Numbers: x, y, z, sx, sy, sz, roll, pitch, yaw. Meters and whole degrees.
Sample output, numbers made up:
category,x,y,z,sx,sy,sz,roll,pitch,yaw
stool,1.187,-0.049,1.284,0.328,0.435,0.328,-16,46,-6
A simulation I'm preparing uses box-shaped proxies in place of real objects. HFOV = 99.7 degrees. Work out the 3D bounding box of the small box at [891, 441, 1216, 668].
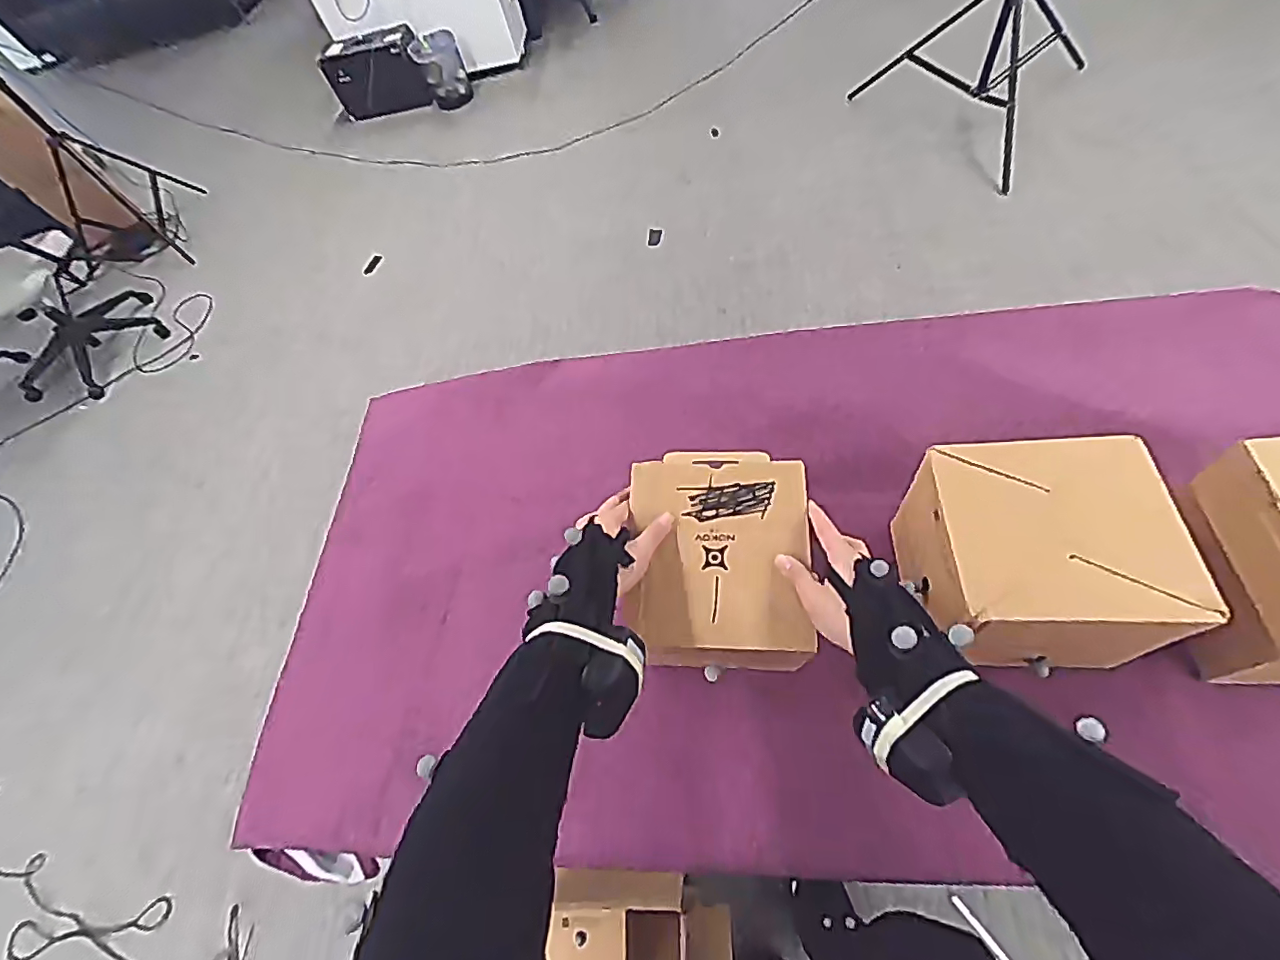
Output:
category,x,y,z,sx,sy,sz,roll,pitch,yaw
small box,0.364,0.076,0.520,0.179,0.176,0.168,-3,58,11

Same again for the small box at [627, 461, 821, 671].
category,x,y,z,sx,sy,sz,roll,pitch,yaw
small box,0.085,0.095,0.562,0.168,0.176,0.179,-1,66,9

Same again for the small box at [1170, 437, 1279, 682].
category,x,y,z,sx,sy,sz,roll,pitch,yaw
small box,0.605,0.075,0.470,0.179,0.176,0.168,-3,57,11
